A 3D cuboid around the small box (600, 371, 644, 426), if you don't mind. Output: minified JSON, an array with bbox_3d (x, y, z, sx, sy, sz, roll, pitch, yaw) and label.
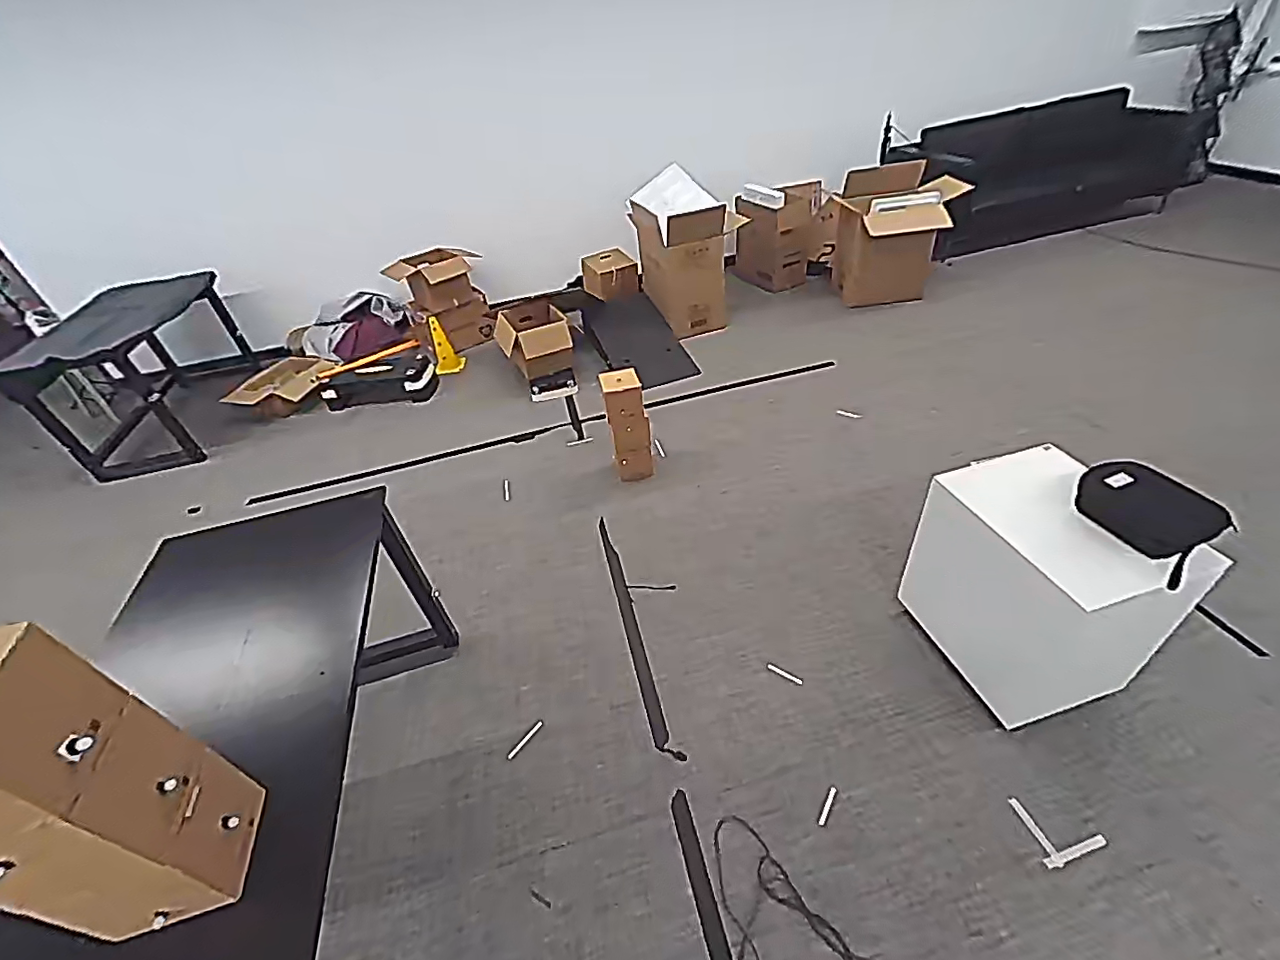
[{"bbox_3d":[-0.081,-0.367,2.439,0.168,0.176,0.179,-12,40,-6],"label":"small box"}]

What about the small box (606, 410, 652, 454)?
[{"bbox_3d":[-0.052,-0.240,2.538,0.179,0.176,0.168,-13,39,-8],"label":"small box"}]

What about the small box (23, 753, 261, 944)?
[{"bbox_3d":[-0.712,0.547,0.806,0.179,0.176,0.168,-15,39,-9],"label":"small box"}]

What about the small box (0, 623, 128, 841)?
[{"bbox_3d":[-0.750,0.295,0.601,0.179,0.176,0.168,-15,41,-9],"label":"small box"}]

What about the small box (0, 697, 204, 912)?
[{"bbox_3d":[-0.732,0.421,0.702,0.179,0.176,0.168,-15,40,-8],"label":"small box"}]
